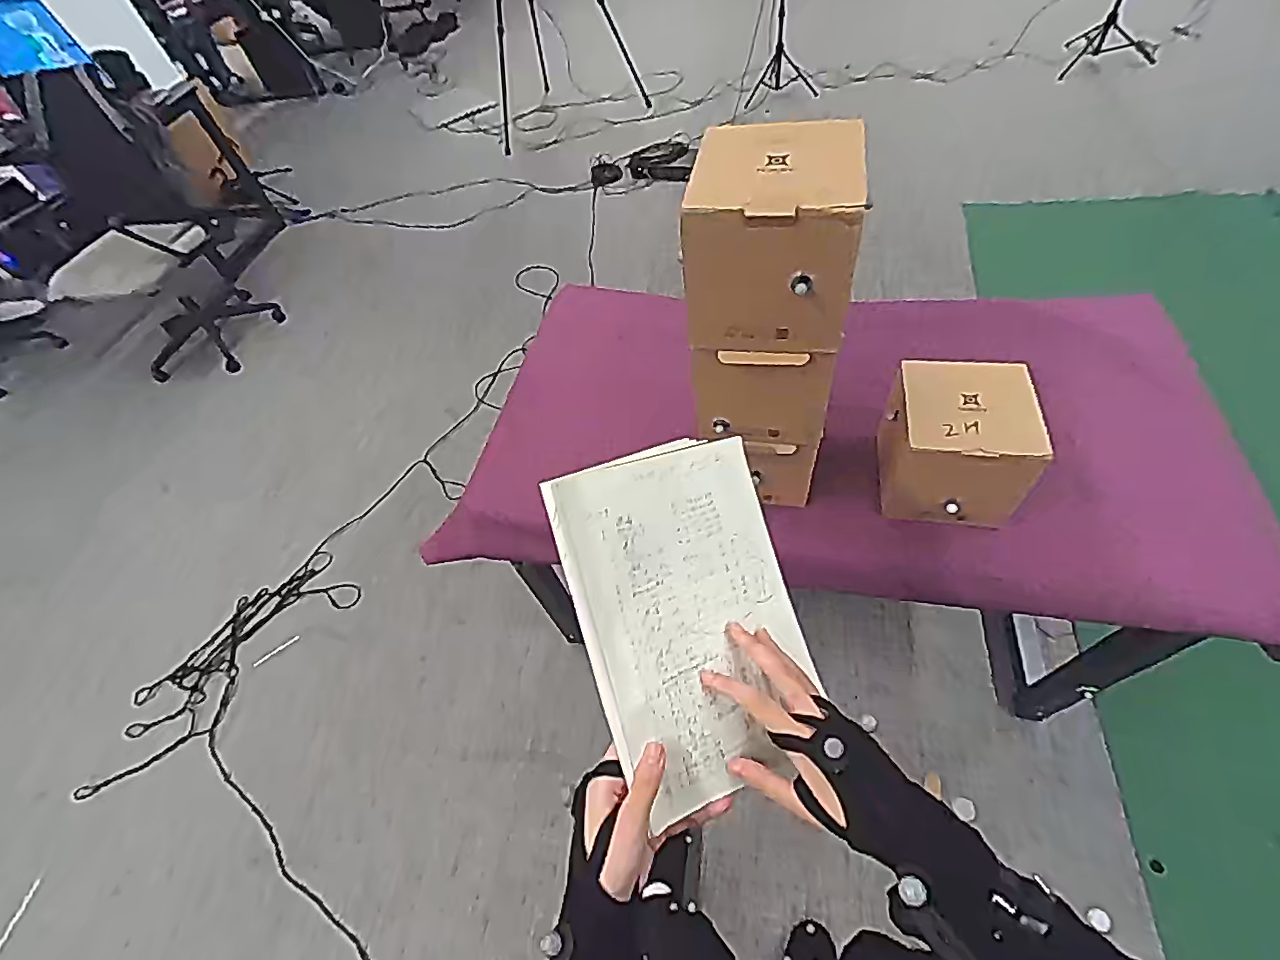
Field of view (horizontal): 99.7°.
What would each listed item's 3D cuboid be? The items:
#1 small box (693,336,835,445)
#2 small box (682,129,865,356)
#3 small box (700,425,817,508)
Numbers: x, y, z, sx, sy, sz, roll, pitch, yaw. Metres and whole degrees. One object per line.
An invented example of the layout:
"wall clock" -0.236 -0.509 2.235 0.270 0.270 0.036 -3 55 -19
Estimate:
"small box" 0.171 -0.165 0.733 0.168 0.176 0.179 5 54 14
"small box" 0.147 -0.256 0.600 0.168 0.176 0.179 6 55 13
"small box" 0.195 -0.073 0.868 0.168 0.176 0.179 5 56 13
